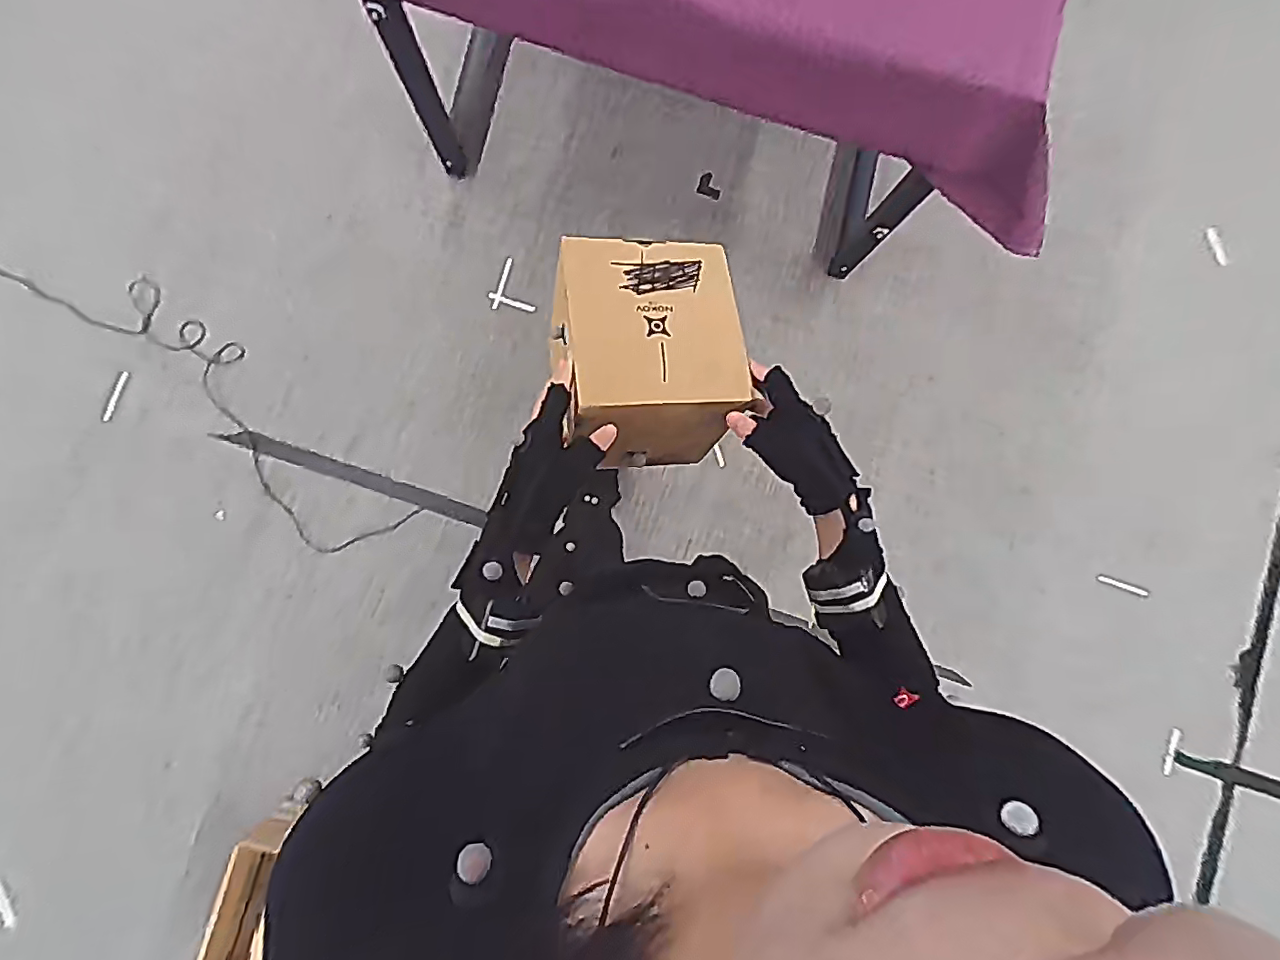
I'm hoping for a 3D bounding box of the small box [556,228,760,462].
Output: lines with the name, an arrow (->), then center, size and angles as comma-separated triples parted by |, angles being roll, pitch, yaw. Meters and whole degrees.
small box -> 0.003, -0.131, 0.571 | 0.168, 0.176, 0.179 | -3, 72, -13
